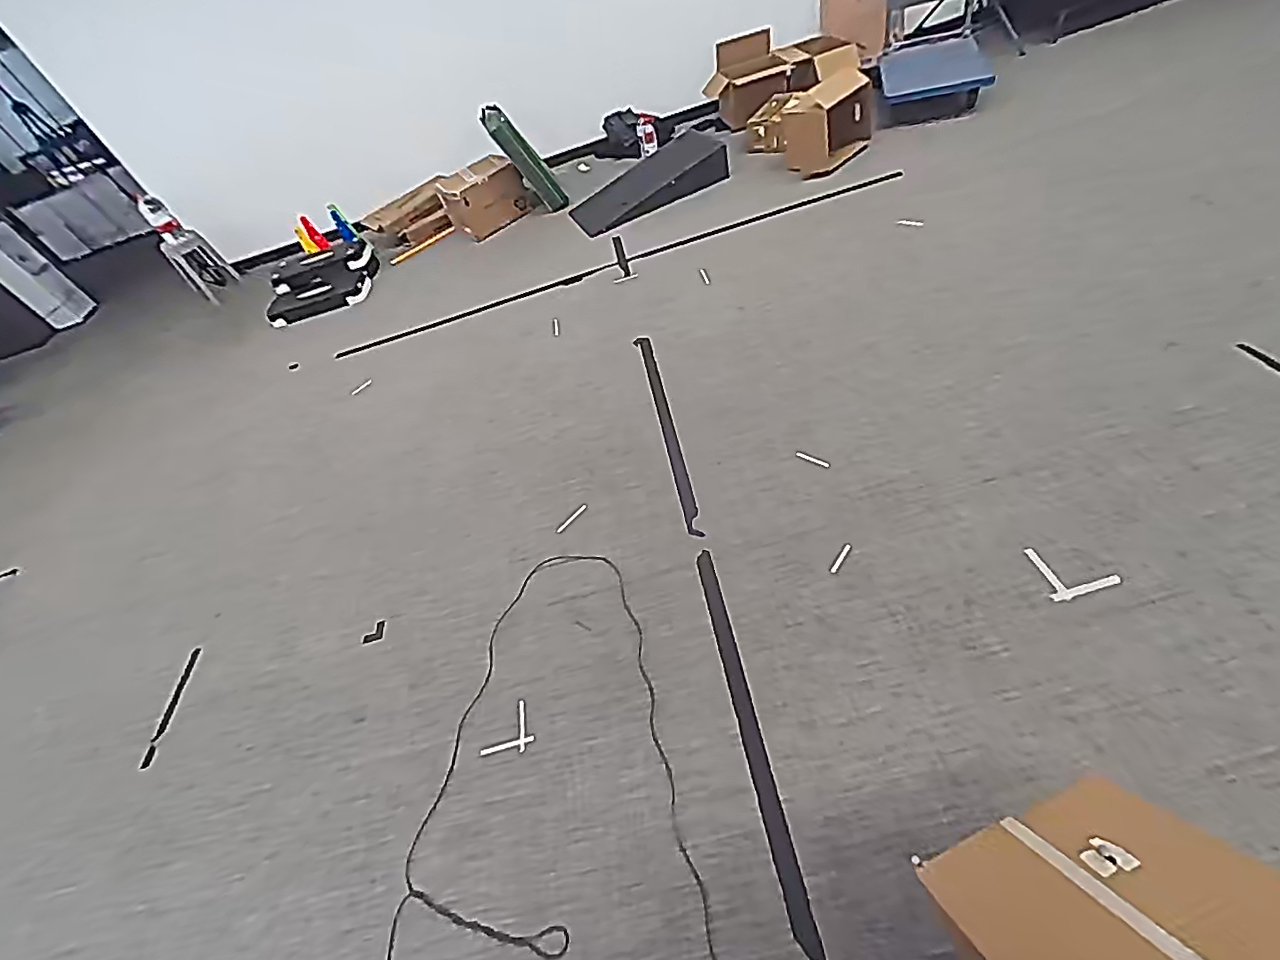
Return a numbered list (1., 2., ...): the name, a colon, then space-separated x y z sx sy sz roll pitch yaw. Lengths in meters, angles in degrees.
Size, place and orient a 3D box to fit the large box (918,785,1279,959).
1. large box: 0.617 0.635 0.599 0.320 0.408 0.320 -24 84 -4
